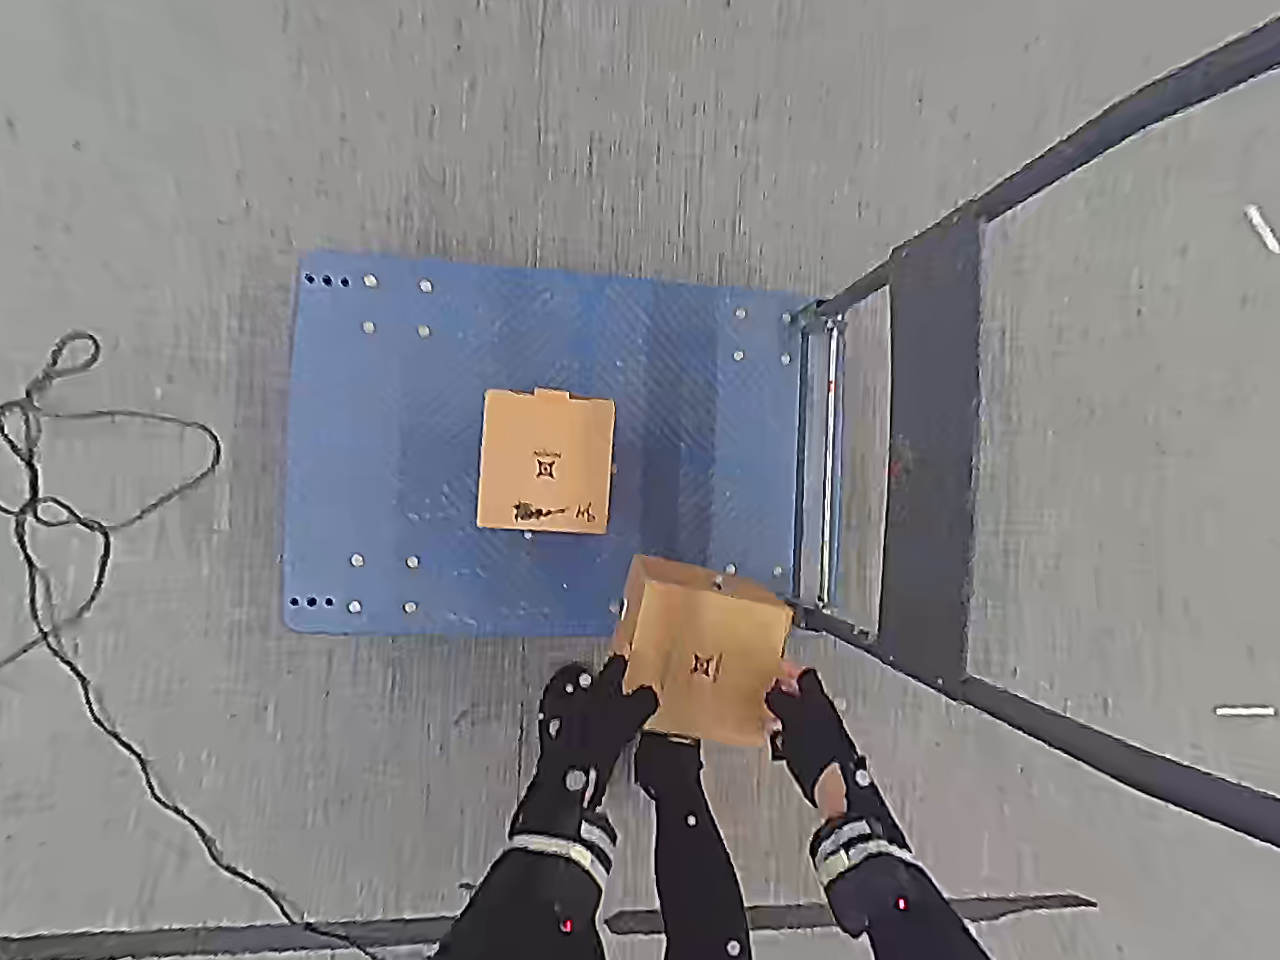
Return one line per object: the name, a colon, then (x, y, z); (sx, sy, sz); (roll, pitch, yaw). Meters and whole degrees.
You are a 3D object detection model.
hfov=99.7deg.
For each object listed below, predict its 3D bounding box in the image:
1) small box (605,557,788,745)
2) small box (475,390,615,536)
small box: (0.059, 0.204, 0.689); (0.179, 0.176, 0.168); (14, 90, -6)
small box: (-0.130, -0.018, 0.770); (0.168, 0.176, 0.179); (5, 88, -6)
